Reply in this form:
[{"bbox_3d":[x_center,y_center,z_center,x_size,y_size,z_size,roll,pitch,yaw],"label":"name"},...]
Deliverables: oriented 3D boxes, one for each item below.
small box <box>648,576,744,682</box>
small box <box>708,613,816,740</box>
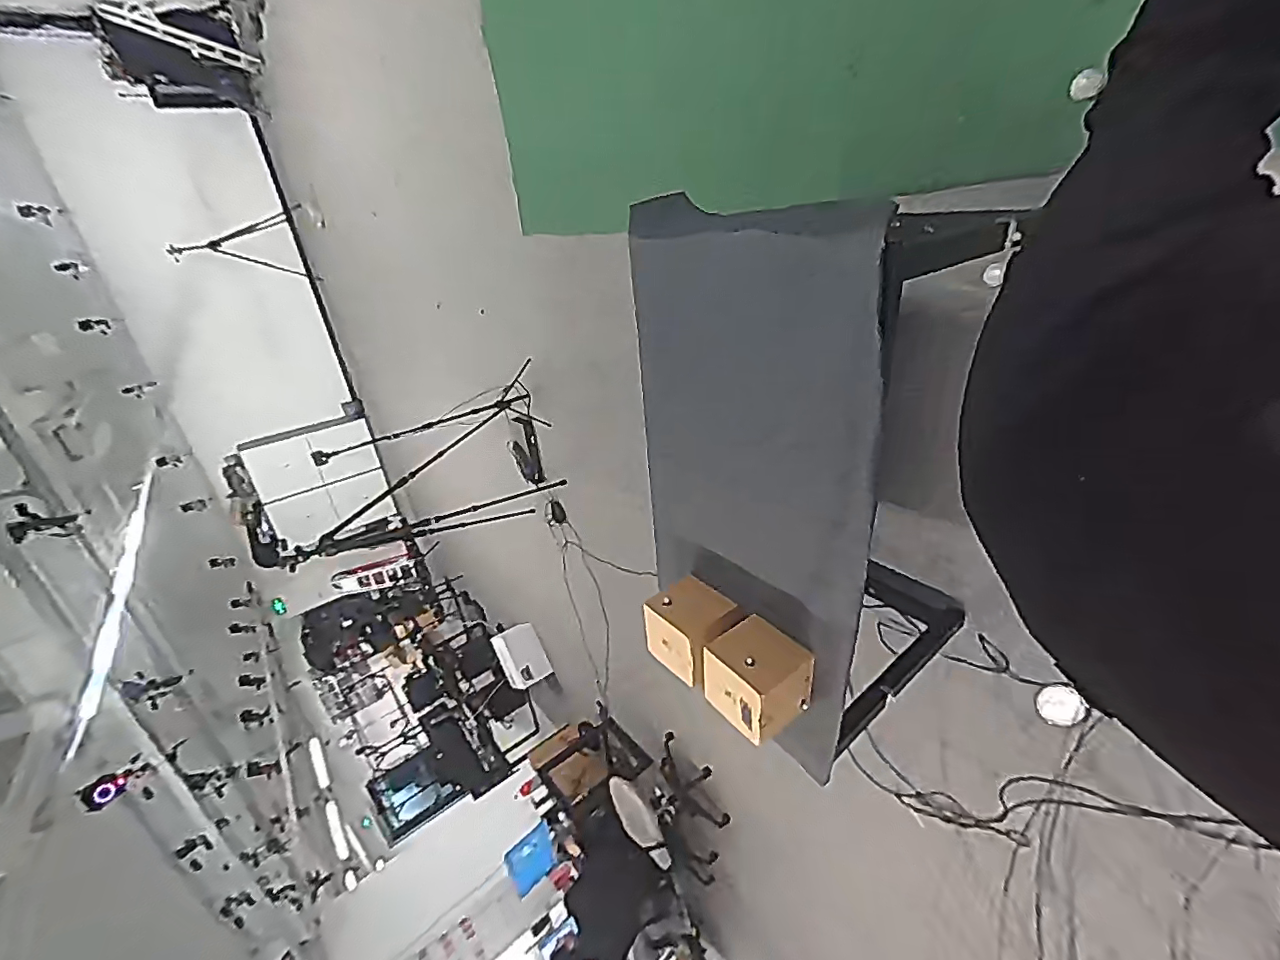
[{"bbox_3d":[0.142,0.367,1.376,0.179,0.176,0.168,27,132,46],"label":"small box"},{"bbox_3d":[0.275,0.431,1.217,0.179,0.176,0.168,30,134,47],"label":"small box"}]
